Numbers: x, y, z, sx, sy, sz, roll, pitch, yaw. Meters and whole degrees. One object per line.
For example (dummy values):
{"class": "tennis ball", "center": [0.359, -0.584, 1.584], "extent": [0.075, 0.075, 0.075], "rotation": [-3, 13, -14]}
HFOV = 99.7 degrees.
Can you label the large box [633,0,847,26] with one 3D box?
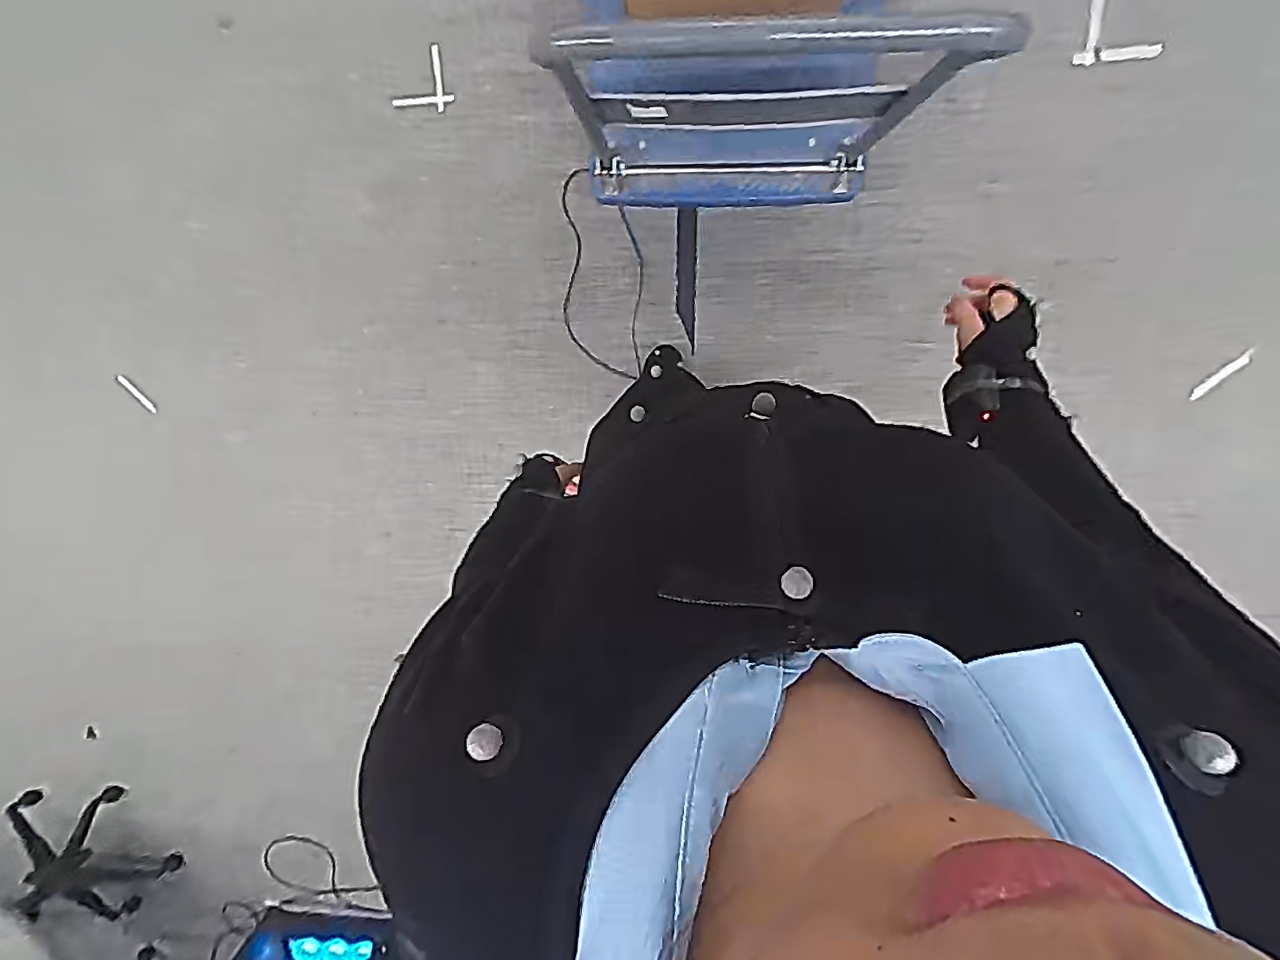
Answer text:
{"class": "large box", "center": [0.182, -1.008, 0.892], "extent": [0.408, 0.320, 0.320], "rotation": [4, 106, 5]}
